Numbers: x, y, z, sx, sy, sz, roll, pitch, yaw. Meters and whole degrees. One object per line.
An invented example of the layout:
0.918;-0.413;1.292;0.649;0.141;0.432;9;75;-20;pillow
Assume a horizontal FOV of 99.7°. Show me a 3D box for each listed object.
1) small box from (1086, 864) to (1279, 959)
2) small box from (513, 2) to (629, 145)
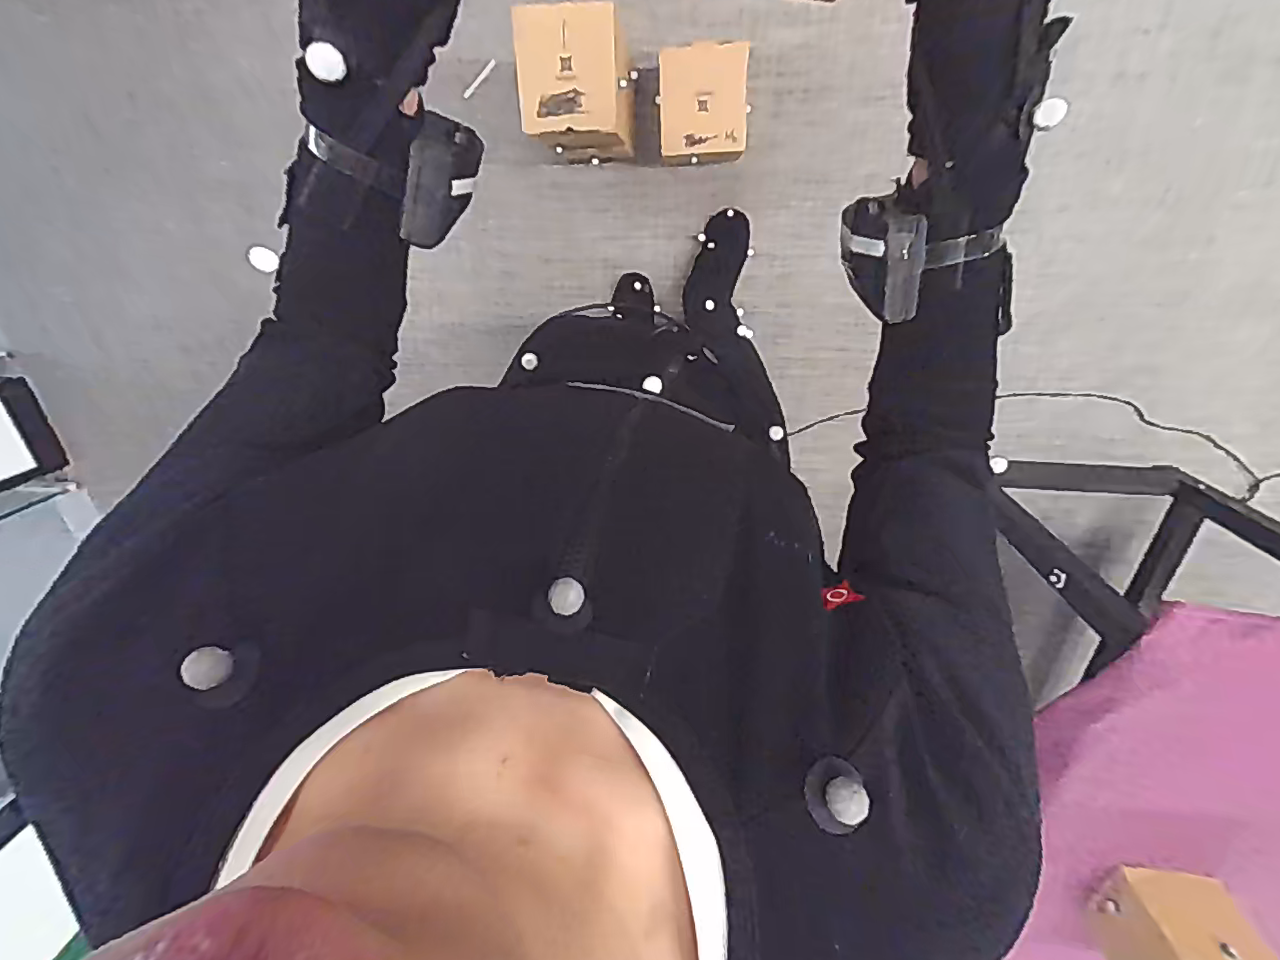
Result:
0.955;0.814;0.949;0.179;0.176;0.168;7;116;3;small box
-0.111;-0.698;0.951;0.168;0.176;0.179;2;115;5;small box
